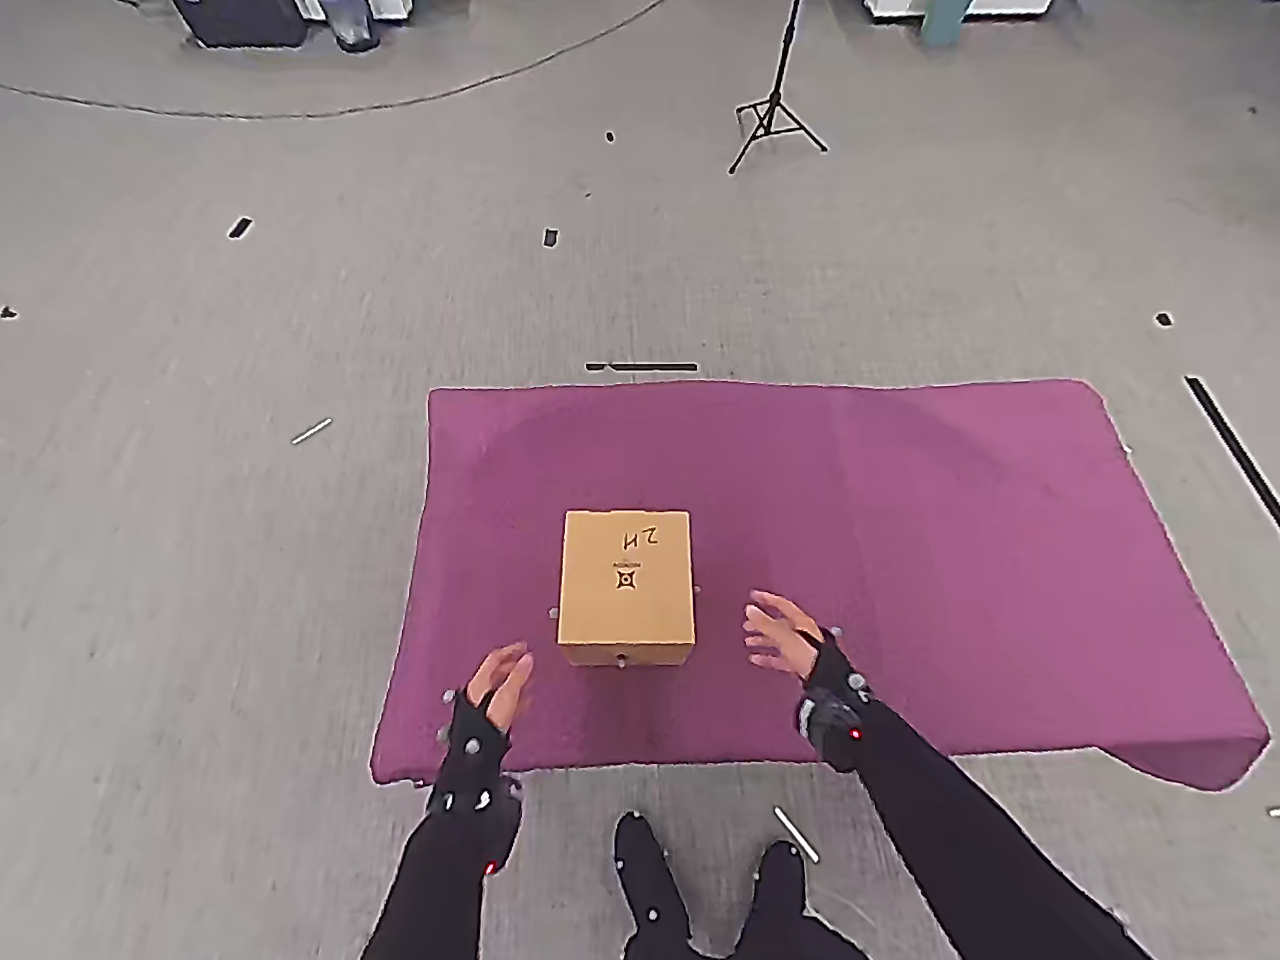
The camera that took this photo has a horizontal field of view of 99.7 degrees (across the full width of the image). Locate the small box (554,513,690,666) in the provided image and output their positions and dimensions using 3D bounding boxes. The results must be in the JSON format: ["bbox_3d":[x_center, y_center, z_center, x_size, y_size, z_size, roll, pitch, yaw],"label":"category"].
[{"bbox_3d":[-0.021,0.157,0.749,0.168,0.176,0.179,1,63,-1],"label":"small box"}]
